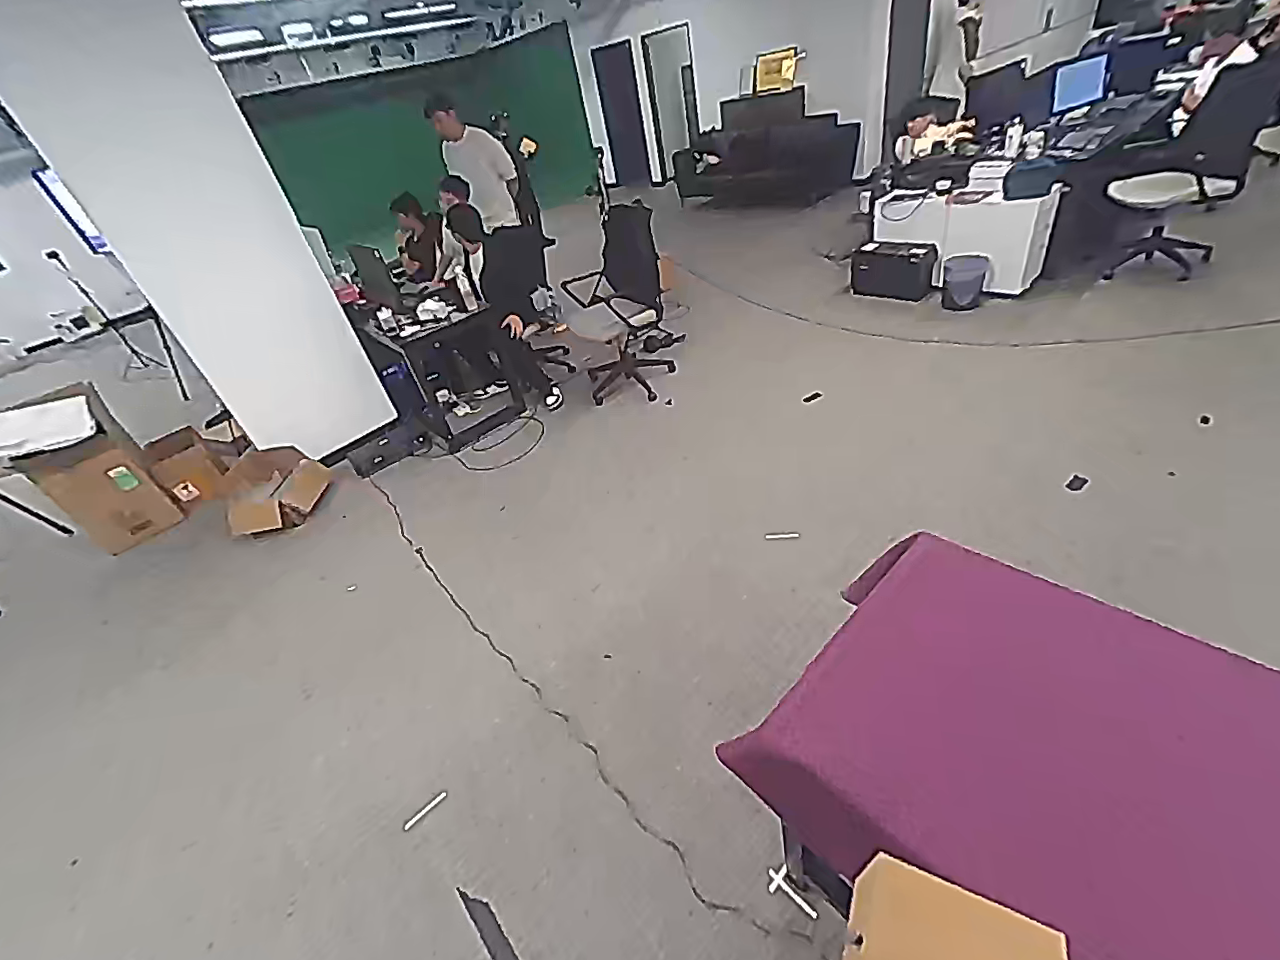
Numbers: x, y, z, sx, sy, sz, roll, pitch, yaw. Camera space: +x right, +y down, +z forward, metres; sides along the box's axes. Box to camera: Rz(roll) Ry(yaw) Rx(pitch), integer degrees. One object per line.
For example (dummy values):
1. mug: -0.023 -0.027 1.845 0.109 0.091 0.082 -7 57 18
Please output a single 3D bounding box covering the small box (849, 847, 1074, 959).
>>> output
1. small box: 0.307 0.518 0.544 0.168 0.176 0.179 14 50 23
